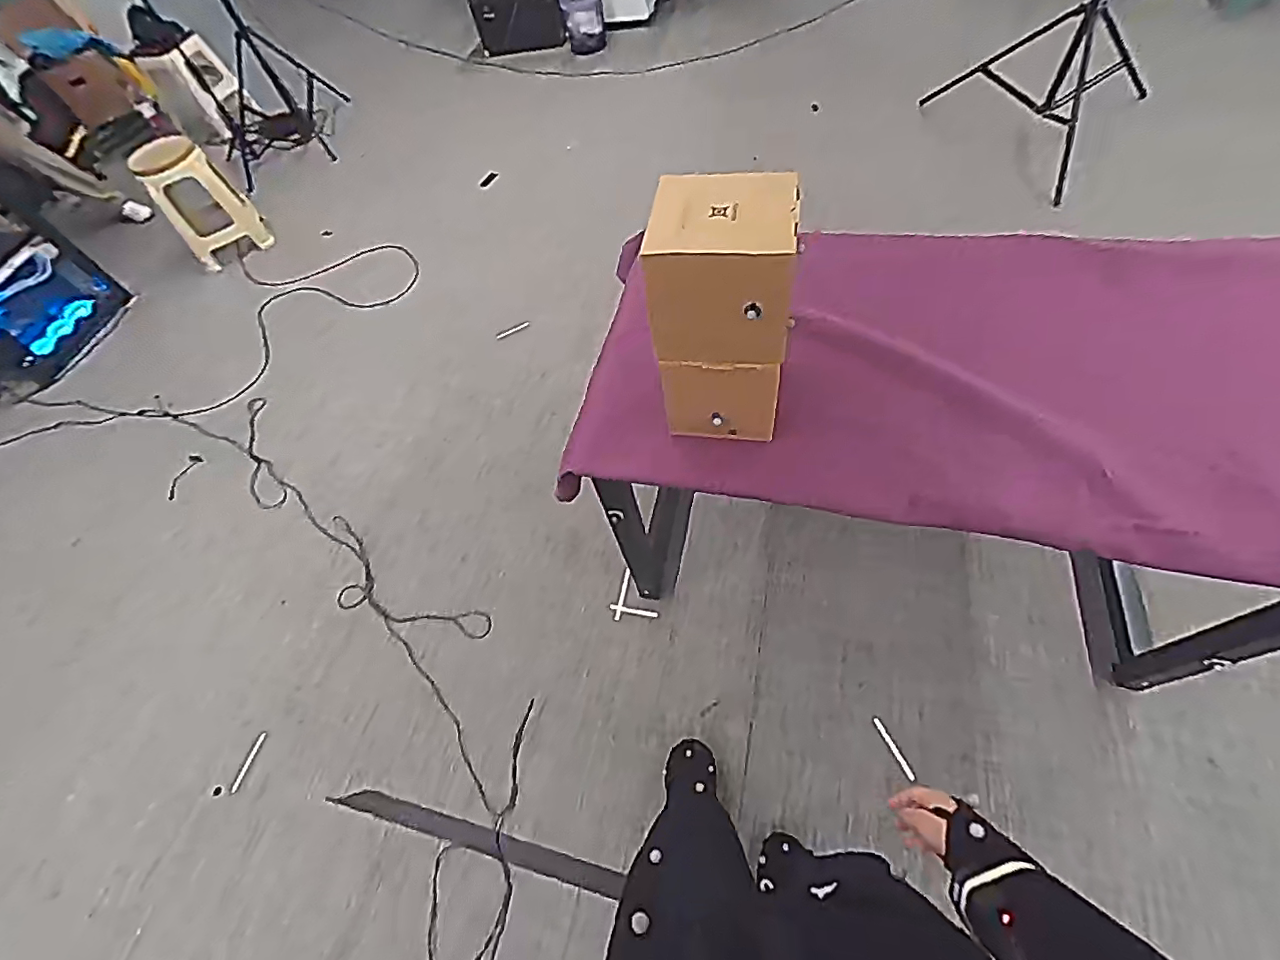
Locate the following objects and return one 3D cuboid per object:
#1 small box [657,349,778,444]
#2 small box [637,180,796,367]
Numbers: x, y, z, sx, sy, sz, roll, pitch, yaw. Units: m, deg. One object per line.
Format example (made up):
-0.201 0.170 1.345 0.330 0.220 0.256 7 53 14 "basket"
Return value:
0.128 -0.180 0.848 0.168 0.176 0.179 5 59 13 "small box"
0.105 -0.266 0.713 0.179 0.176 0.168 4 57 12 "small box"
